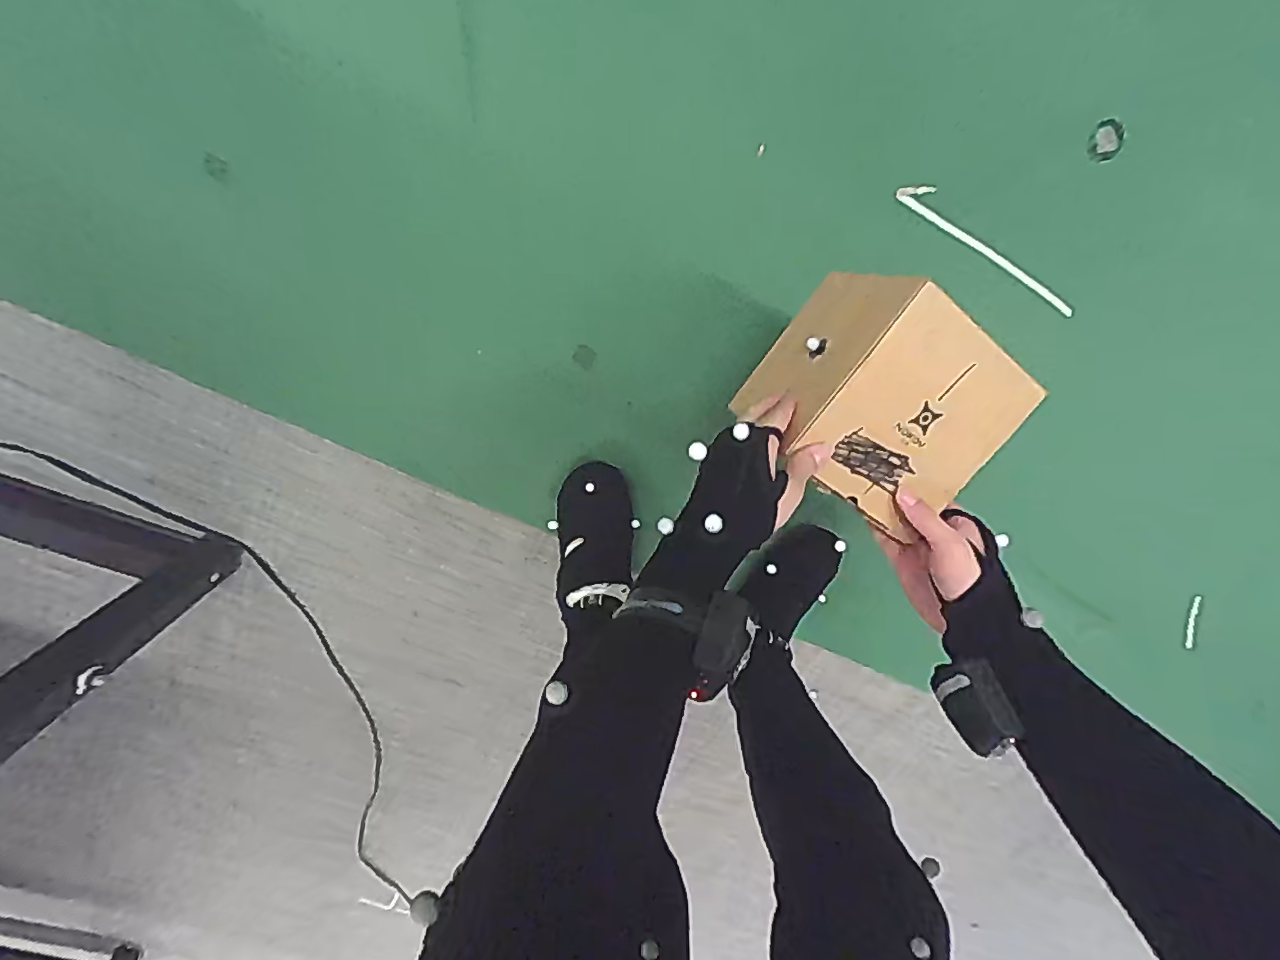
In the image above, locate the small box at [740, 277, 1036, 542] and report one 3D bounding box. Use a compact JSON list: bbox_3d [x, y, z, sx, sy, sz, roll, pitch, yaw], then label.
[{"bbox_3d":[0.220,-0.078,0.535,0.168,0.176,0.179,32,104,-20],"label":"small box"}]
